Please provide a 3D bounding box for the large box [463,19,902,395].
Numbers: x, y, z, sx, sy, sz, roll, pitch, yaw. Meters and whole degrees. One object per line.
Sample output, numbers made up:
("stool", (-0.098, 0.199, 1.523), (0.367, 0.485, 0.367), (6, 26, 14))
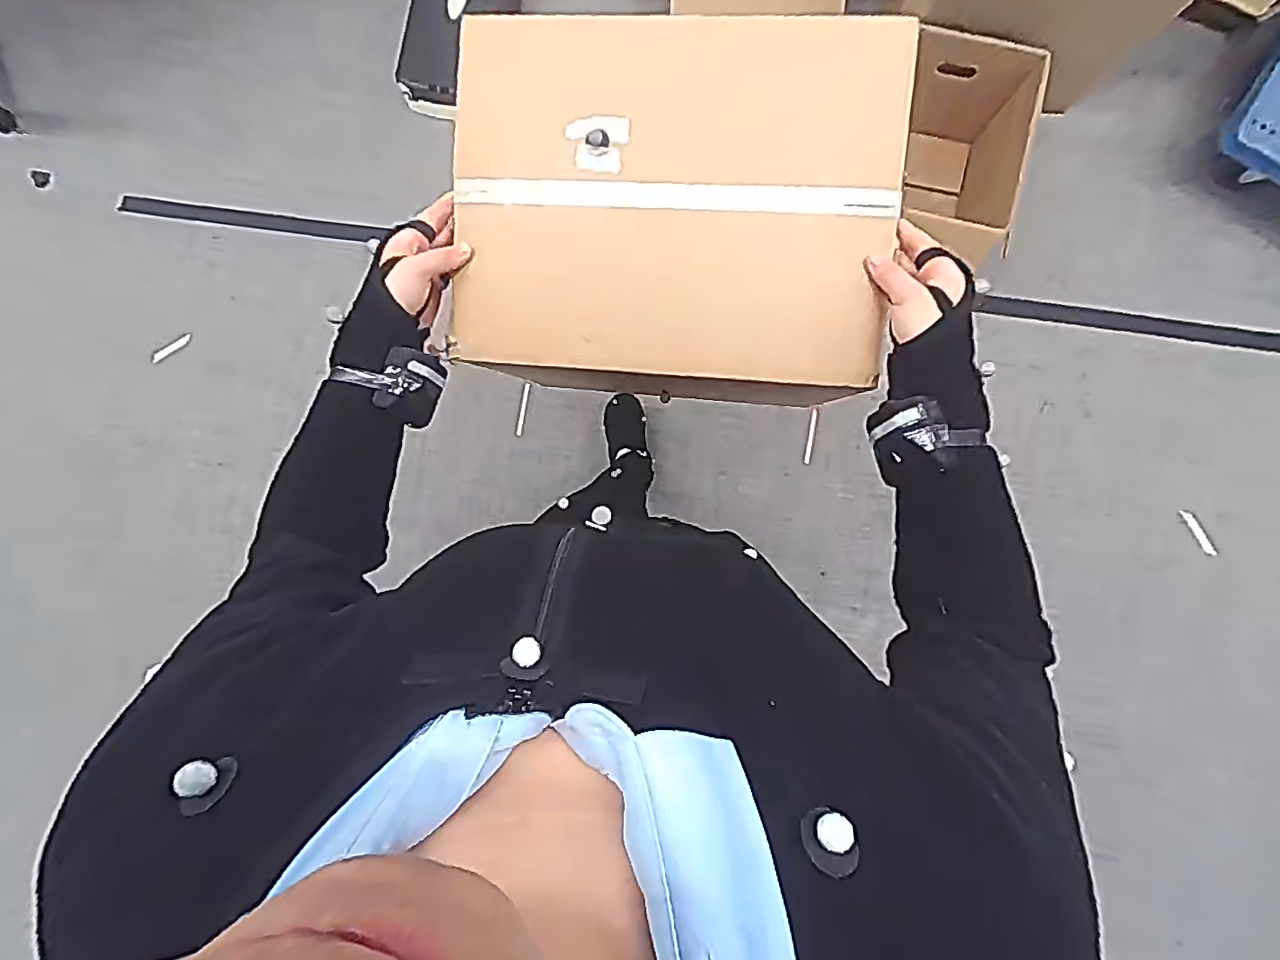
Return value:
("large box", (0.046, -0.274, 0.654), (0.408, 0.320, 0.320), (4, 94, 6))
